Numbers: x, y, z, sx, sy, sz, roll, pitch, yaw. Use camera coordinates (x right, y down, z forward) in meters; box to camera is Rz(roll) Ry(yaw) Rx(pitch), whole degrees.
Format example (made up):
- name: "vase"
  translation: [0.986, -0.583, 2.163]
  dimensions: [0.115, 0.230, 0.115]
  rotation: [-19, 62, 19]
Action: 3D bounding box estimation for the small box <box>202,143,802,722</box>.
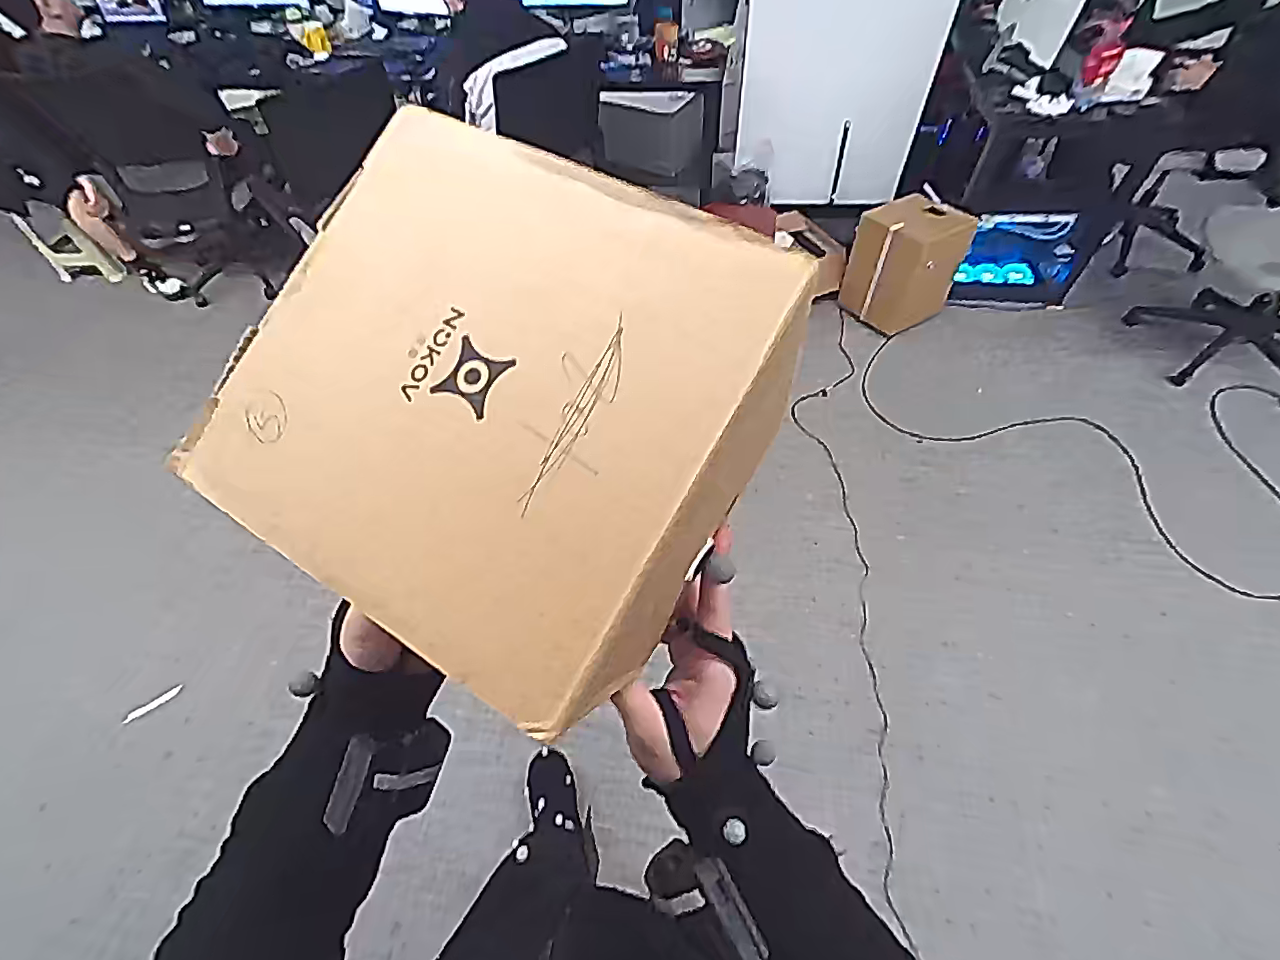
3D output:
- name: "small box"
  translation: [-0.044, -0.015, 0.271]
  dimensions: [0.179, 0.176, 0.168]
  rotation: [28, 85, 14]
